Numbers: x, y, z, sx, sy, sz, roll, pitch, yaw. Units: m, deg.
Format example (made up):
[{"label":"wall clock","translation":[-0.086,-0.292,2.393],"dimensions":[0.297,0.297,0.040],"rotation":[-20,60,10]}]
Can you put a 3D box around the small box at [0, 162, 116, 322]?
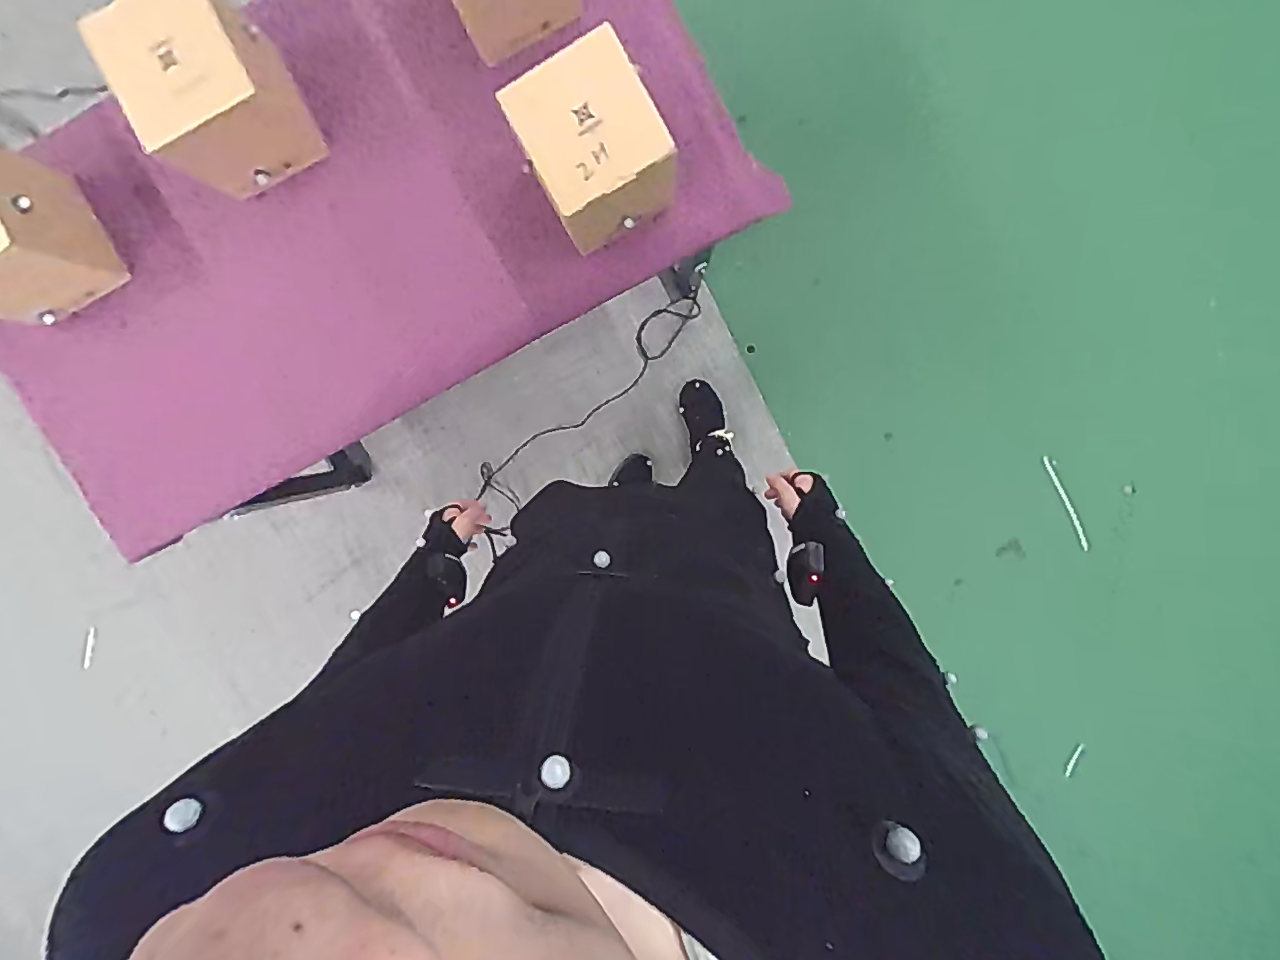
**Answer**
[{"label":"small box","translation":[-0.920,-0.338,0.763],"dimensions":[0.168,0.176,0.179],"rotation":[-28,97,2]}]

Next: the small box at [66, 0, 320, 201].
[{"label":"small box","translation":[-0.594,-0.528,0.746],"dimensions":[0.168,0.176,0.179],"rotation":[-26,98,4]}]

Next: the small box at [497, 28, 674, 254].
[{"label":"small box","translation":[-0.068,-0.451,0.754],"dimensions":[0.168,0.176,0.179],"rotation":[-29,97,5]}]

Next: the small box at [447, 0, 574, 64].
[{"label":"small box","translation":[-0.204,-0.723,0.722],"dimensions":[0.168,0.176,0.179],"rotation":[-28,96,4]}]
